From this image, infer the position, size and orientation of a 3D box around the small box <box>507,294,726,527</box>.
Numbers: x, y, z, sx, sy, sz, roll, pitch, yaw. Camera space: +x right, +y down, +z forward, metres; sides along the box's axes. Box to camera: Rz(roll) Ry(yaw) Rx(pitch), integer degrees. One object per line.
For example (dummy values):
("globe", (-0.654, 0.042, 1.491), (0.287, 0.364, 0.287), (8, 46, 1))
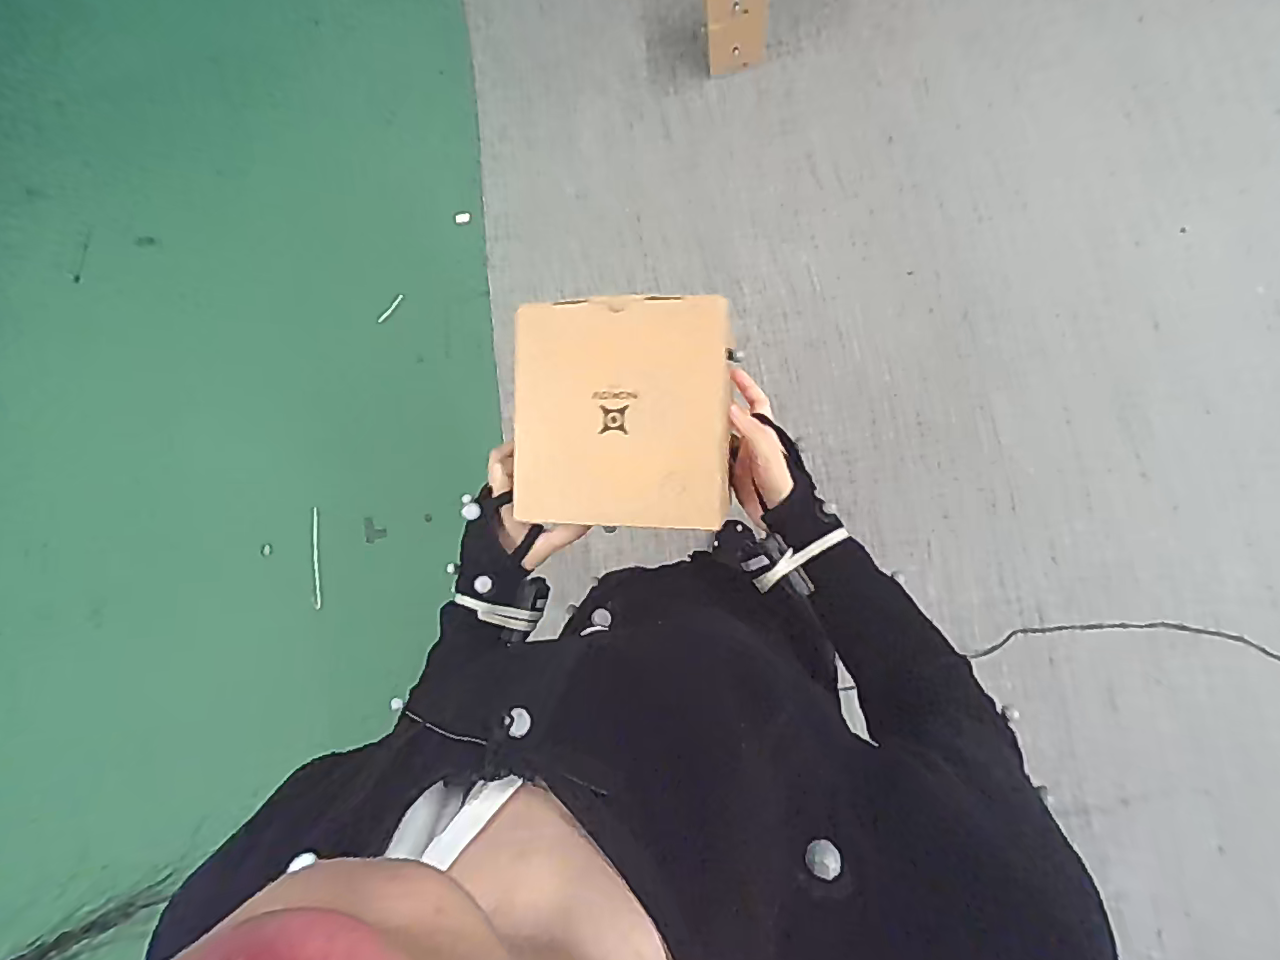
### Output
("small box", (-0.009, -0.055, 0.498), (0.168, 0.176, 0.179), (0, 92, 13))

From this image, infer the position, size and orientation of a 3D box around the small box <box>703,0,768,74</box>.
("small box", (0.277, -1.330, 1.574), (0.168, 0.176, 0.179), (-7, 83, 9))
